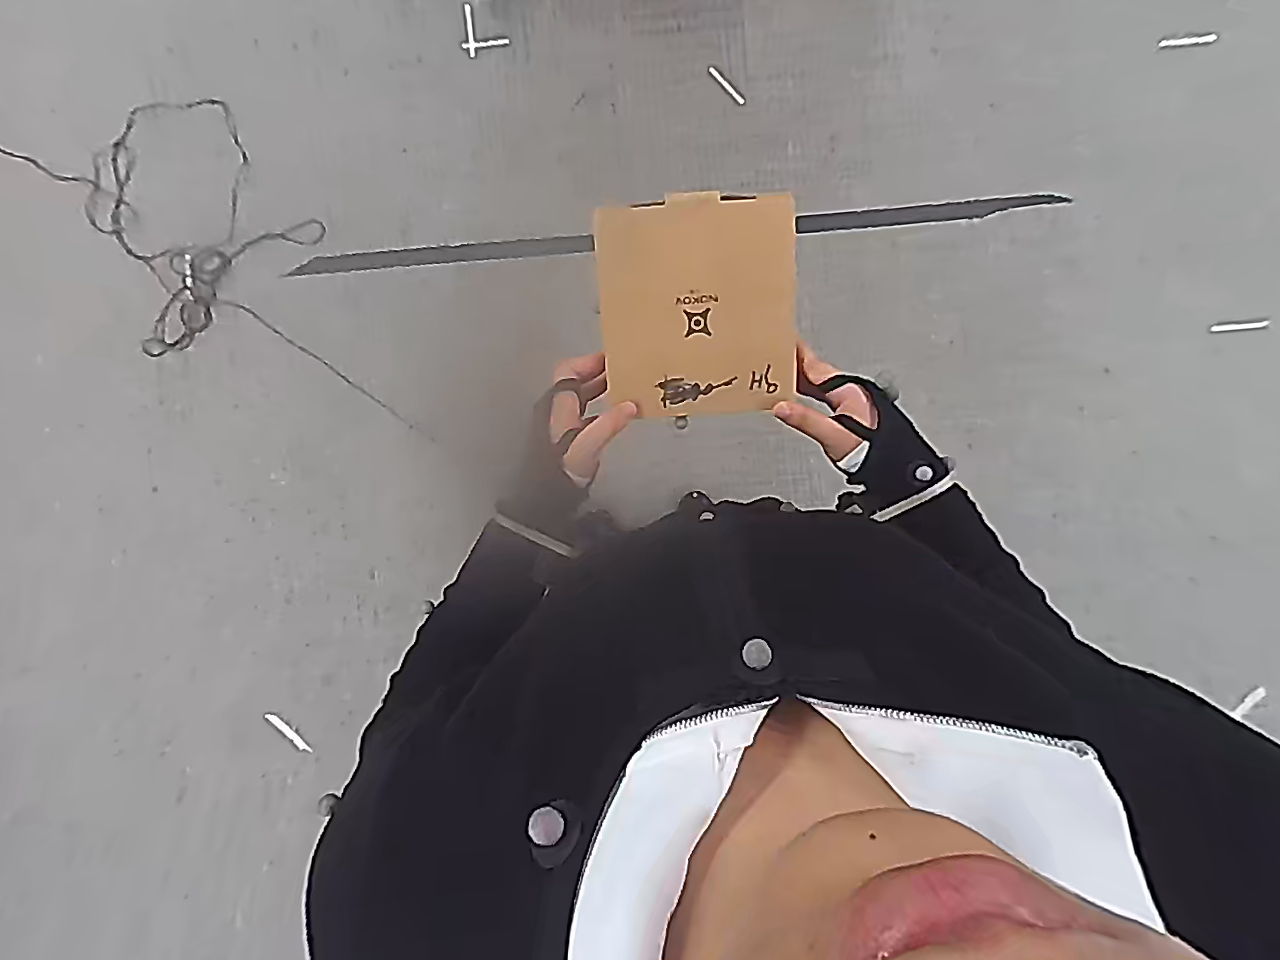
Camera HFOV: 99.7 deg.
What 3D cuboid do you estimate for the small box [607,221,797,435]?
[{"bbox_3d":[0.056,-0.146,0.553,0.168,0.176,0.179,-4,103,1],"label":"small box"}]

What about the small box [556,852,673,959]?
[{"bbox_3d":[-0.036,0.787,0.942,0.179,0.176,0.168,-7,87,3],"label":"small box"}]
